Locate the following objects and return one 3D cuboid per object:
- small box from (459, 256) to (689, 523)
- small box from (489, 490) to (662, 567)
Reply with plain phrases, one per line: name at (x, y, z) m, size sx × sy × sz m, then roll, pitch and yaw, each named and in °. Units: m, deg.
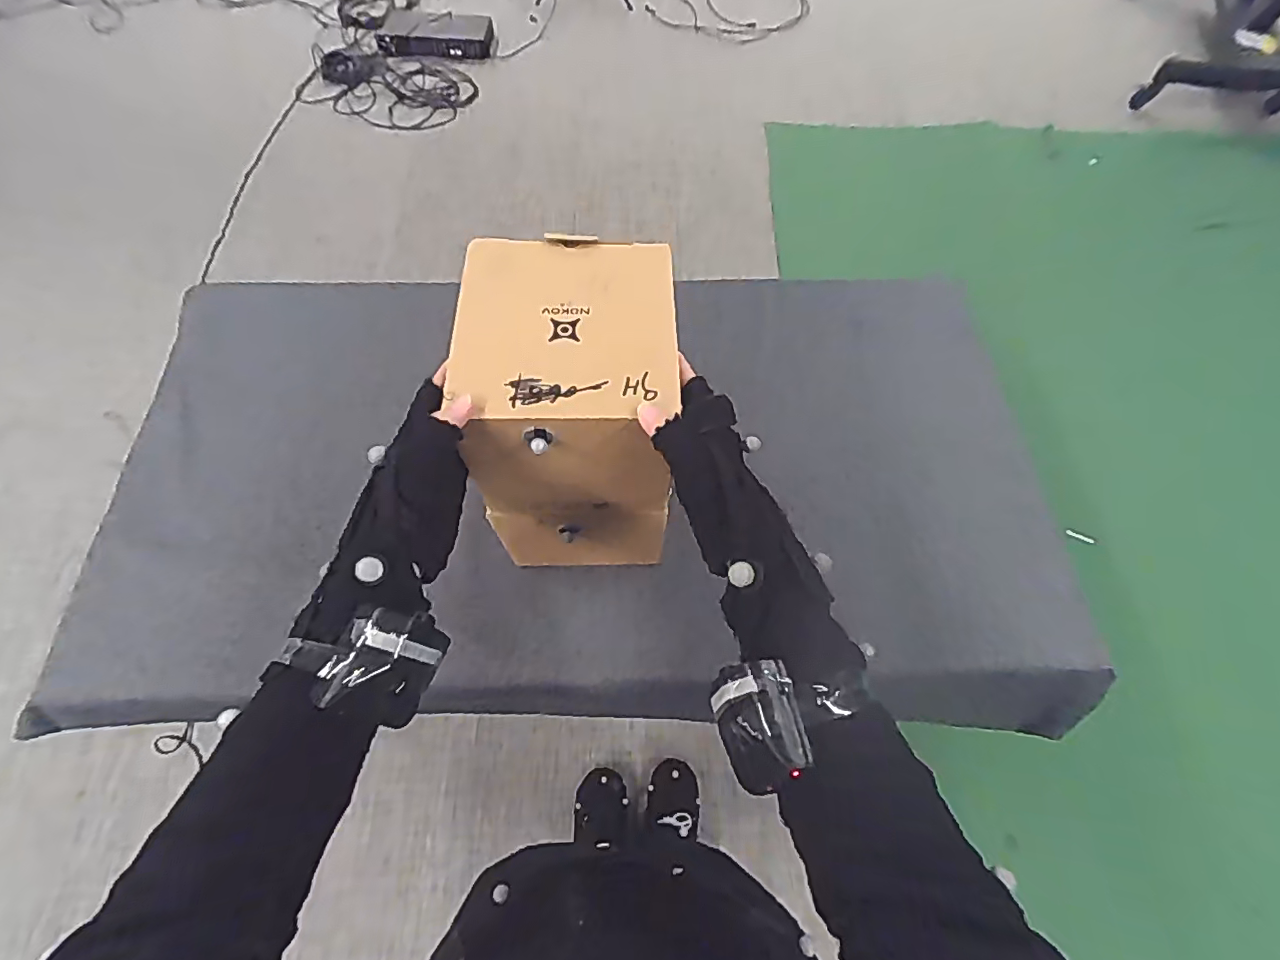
small box at (-0.055, -0.075, 0.490) m, size 0.168 × 0.176 × 0.179 m, roll -2°, pitch 63°, yaw -4°
small box at (-0.065, 0.001, 0.637) m, size 0.179 × 0.176 × 0.168 m, roll -1°, pitch 64°, yaw -2°
